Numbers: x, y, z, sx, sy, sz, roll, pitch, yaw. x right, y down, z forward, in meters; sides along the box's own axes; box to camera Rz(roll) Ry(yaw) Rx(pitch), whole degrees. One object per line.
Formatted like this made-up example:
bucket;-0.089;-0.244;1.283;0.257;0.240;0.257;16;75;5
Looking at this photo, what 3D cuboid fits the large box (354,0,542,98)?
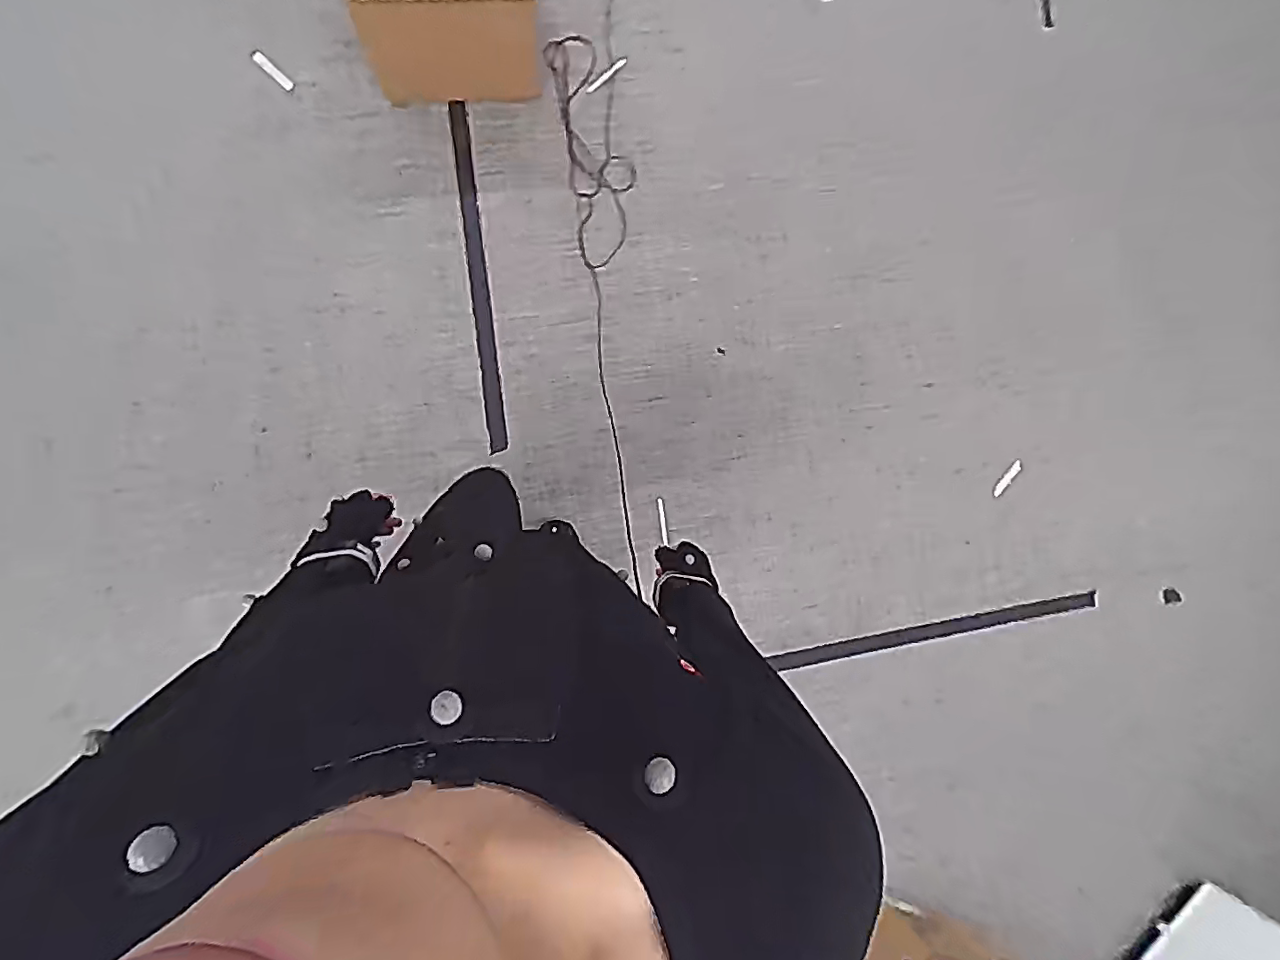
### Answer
large box;-0.461;-1.190;1.312;0.408;0.320;0.320;-8;90;-9
